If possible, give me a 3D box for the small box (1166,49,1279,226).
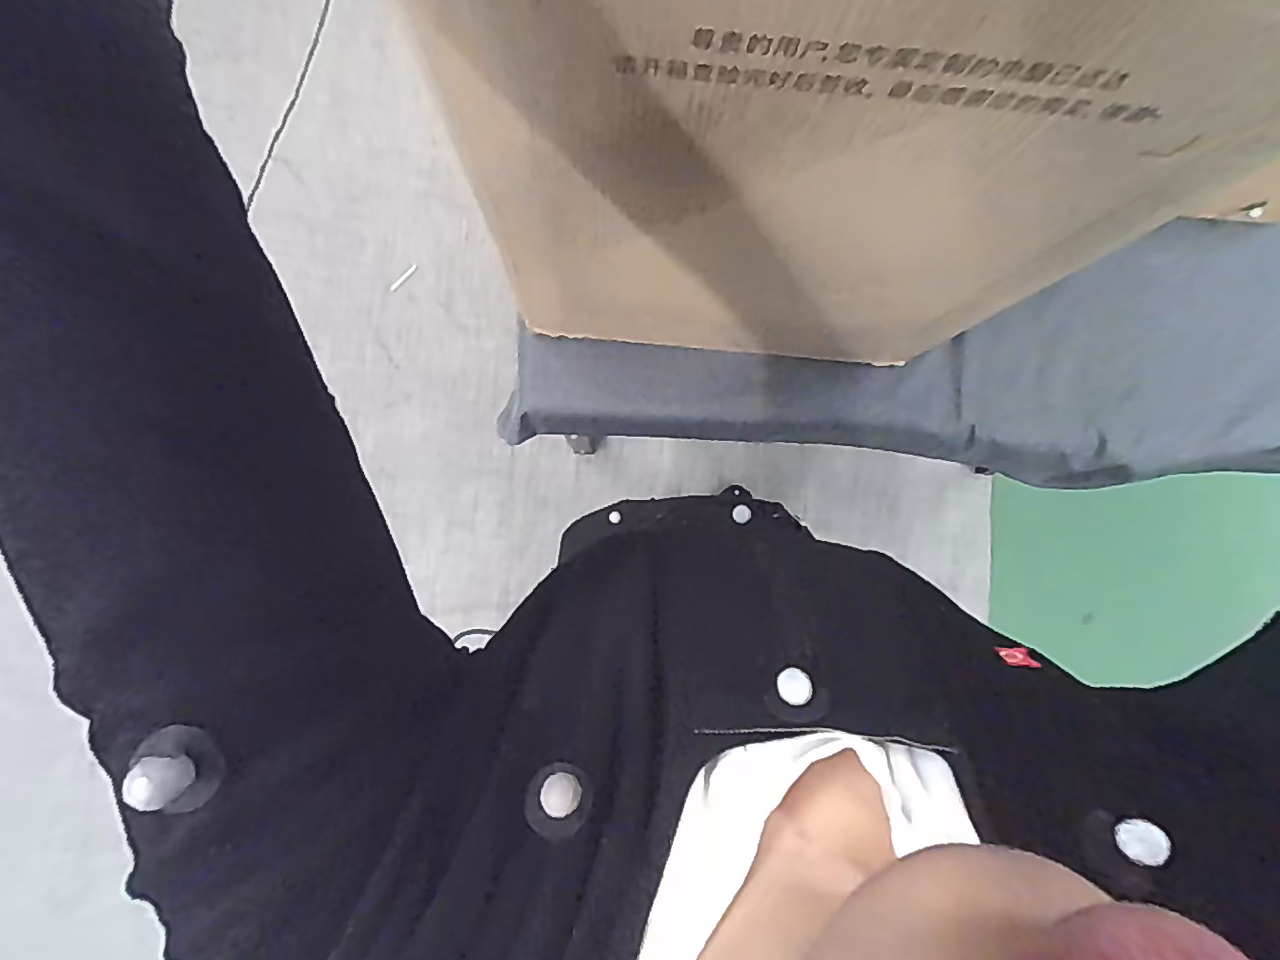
[{"bbox_3d":[0.897,-0.476,0.750,0.179,0.176,0.168,3,86,-3],"label":"small box"}]
